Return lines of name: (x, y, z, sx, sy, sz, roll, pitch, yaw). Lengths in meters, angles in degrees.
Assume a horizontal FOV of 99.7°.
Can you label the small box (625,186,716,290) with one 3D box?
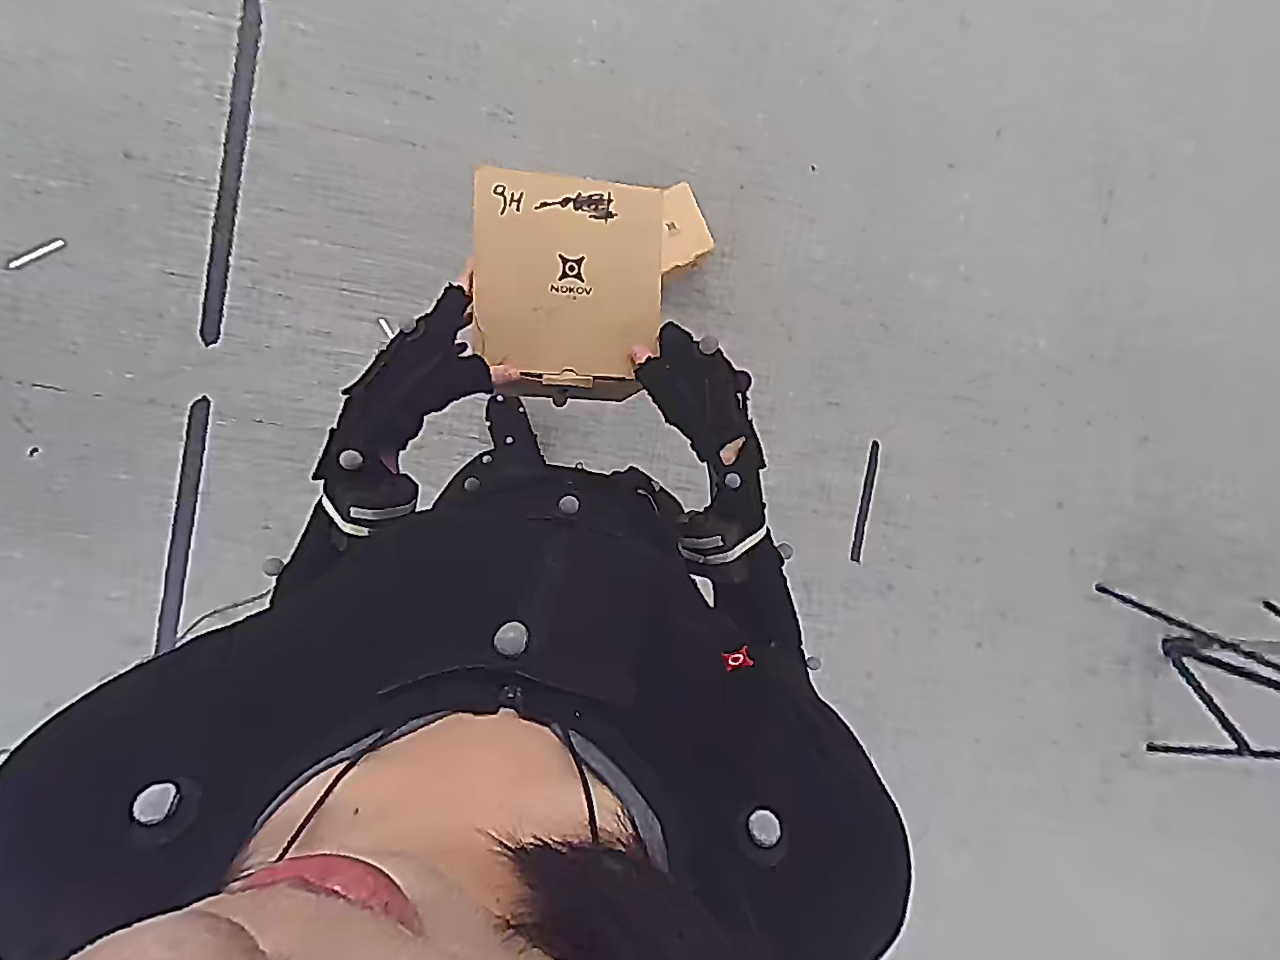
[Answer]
small box: (0.072, -0.612, 1.399, 0.168, 0.176, 0.179, -27, 96, -4)
